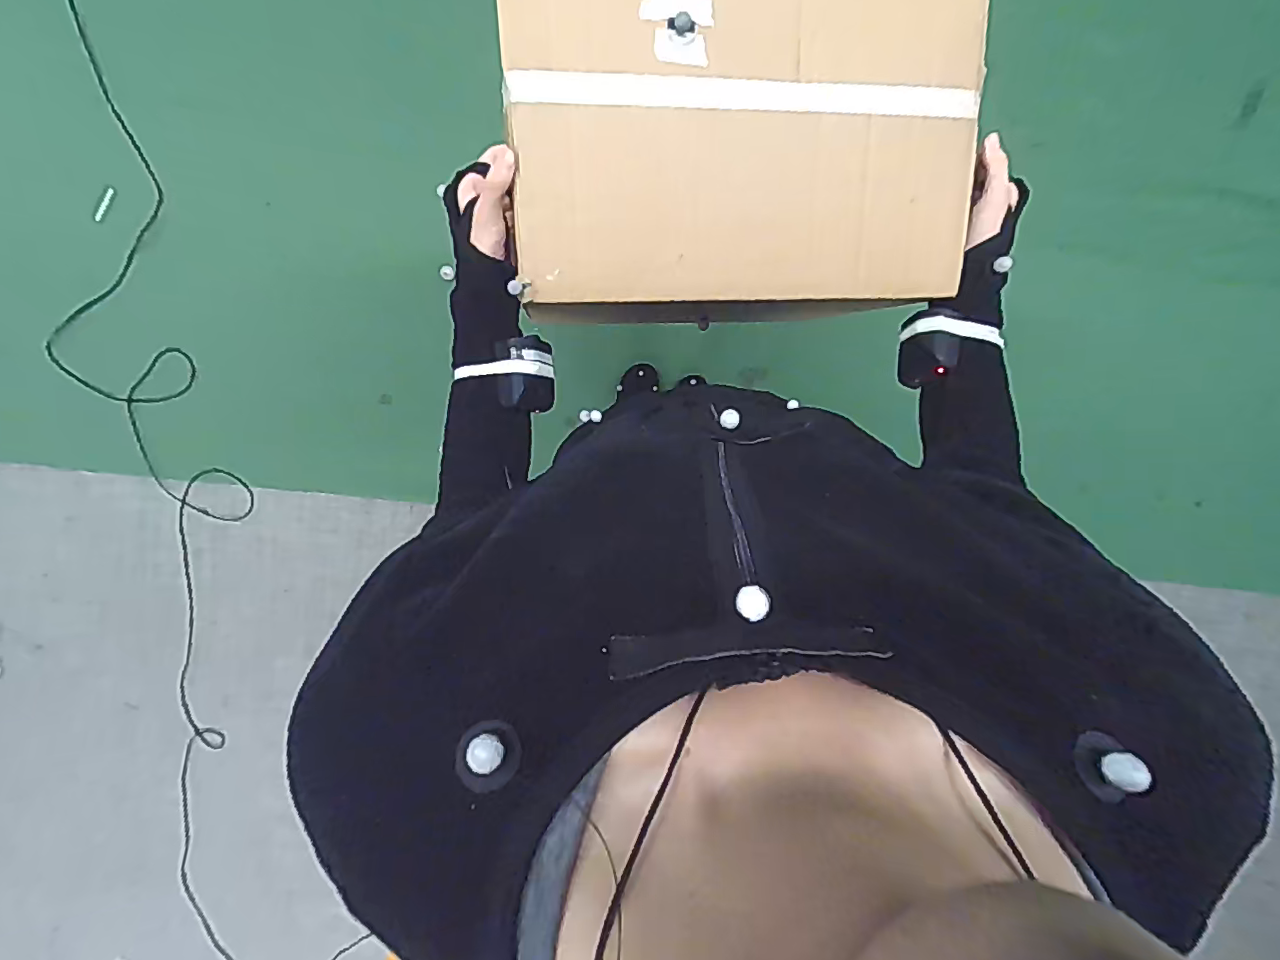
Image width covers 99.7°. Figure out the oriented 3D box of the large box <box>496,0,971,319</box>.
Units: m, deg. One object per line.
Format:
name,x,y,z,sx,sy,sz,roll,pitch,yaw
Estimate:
large box,0.069,-0.350,0.601,0.408,0.320,0.320,-3,103,-7
